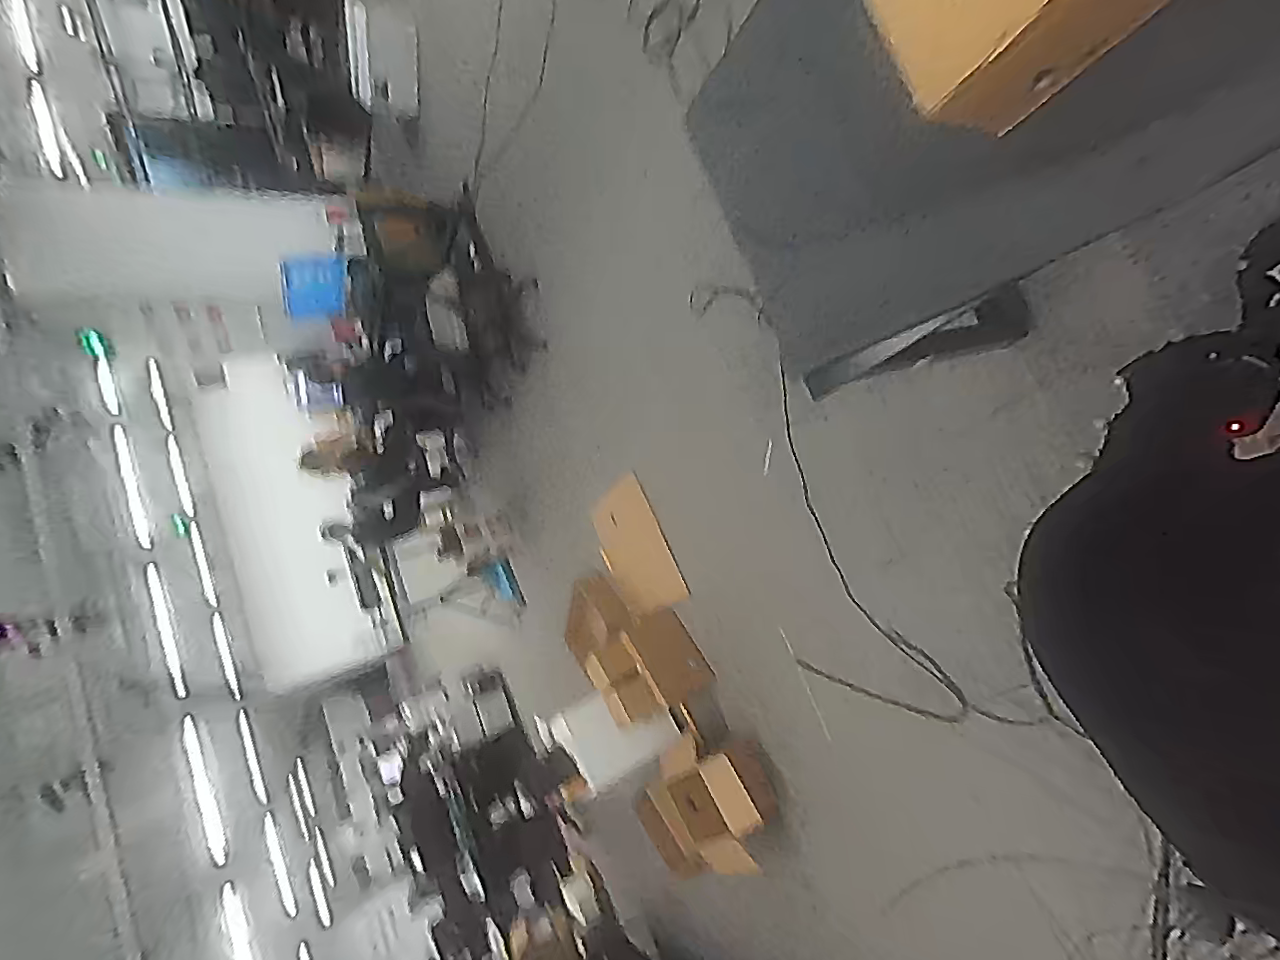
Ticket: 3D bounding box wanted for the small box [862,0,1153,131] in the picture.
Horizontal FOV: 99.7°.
[{"bbox_3d":[0.367,-0.495,0.551,0.168,0.176,0.179,-34,76,55],"label":"small box"}]
